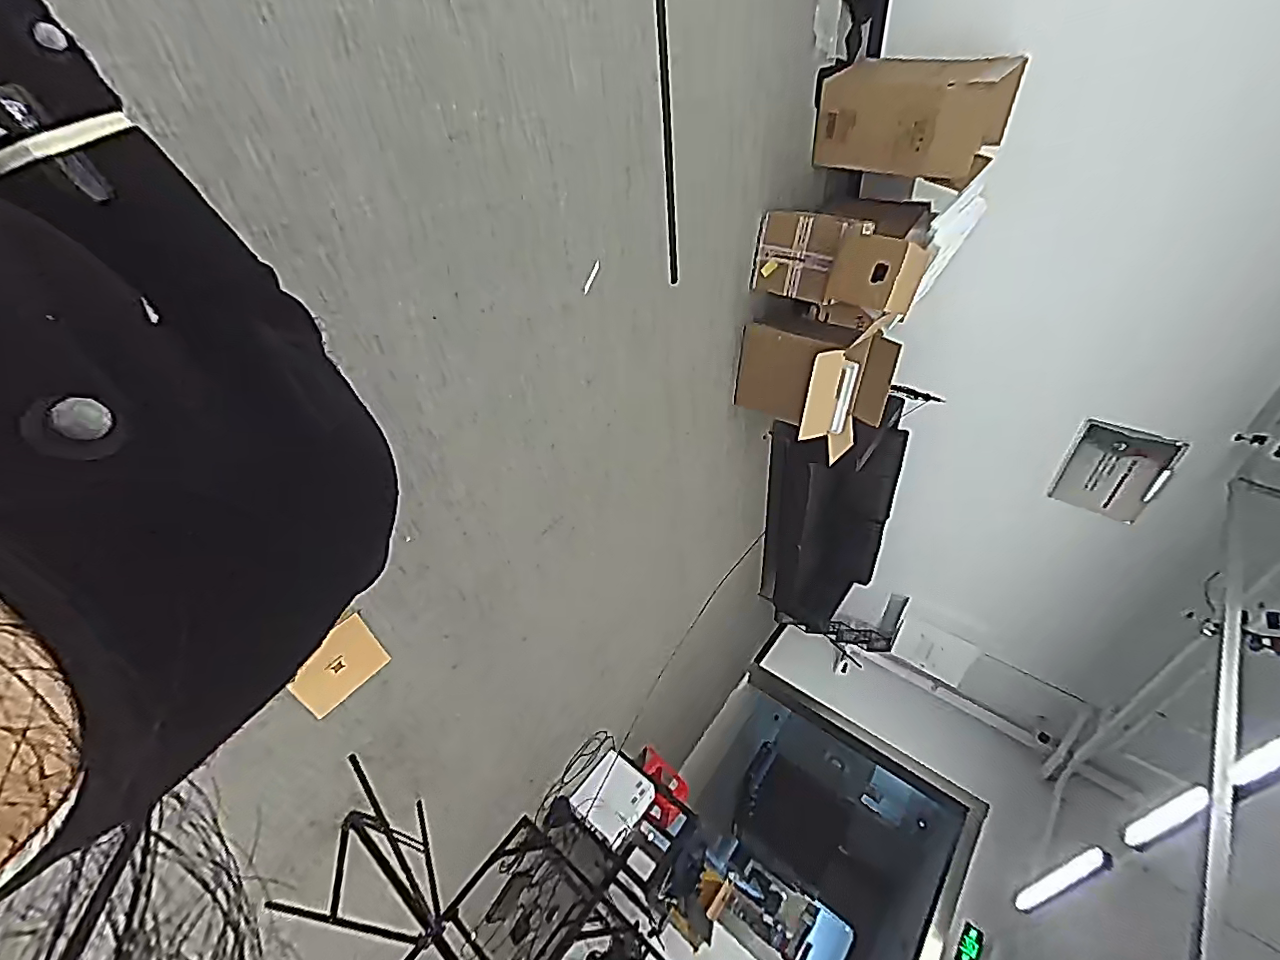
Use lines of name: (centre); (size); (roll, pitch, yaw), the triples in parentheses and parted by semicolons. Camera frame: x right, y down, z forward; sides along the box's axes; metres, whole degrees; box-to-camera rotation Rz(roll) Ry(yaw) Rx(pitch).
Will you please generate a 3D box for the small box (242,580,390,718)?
small box: (-0.655, 0.336, 1.100); (0.168, 0.176, 0.179); (-42, 140, -33)
